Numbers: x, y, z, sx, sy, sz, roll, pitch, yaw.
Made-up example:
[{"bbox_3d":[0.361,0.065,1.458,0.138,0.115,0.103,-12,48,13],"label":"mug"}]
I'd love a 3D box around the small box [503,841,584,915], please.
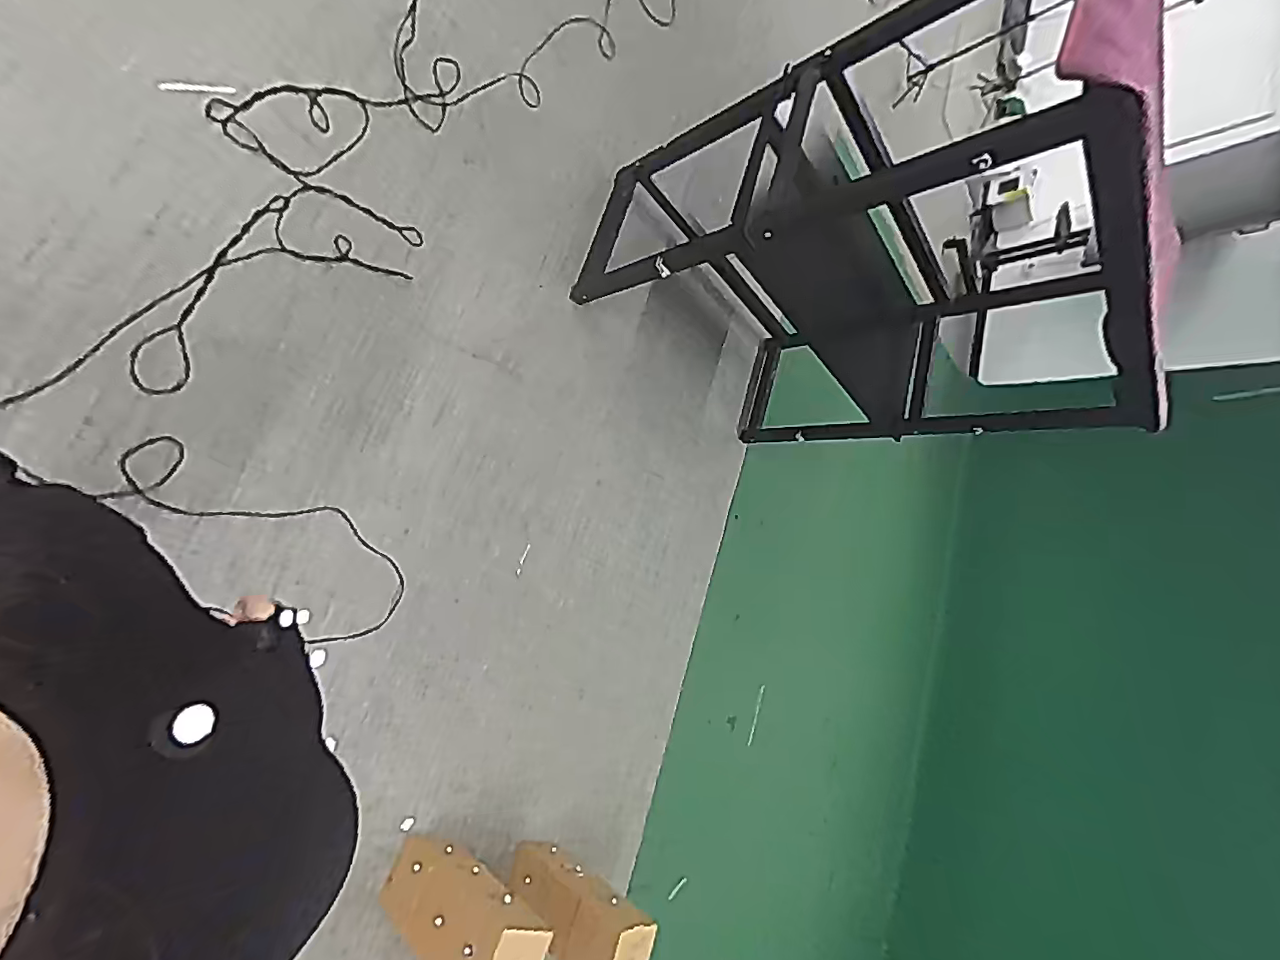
[{"bbox_3d":[-0.318,1.310,1.762,0.168,0.176,0.179,37,66,-39],"label":"small box"}]

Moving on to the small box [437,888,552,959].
[{"bbox_3d":[-0.348,1.108,1.269,0.168,0.176,0.179,43,61,-37],"label":"small box"}]

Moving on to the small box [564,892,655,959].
[{"bbox_3d":[-0.091,1.311,1.526,0.168,0.176,0.179,34,68,-41],"label":"small box"}]

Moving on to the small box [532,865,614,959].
[{"bbox_3d":[-0.206,1.311,1.644,0.168,0.176,0.179,33,67,-41],"label":"small box"}]

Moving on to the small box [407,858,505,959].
[{"bbox_3d":[-0.466,1.112,1.383,0.168,0.176,0.179,41,63,-37],"label":"small box"}]
